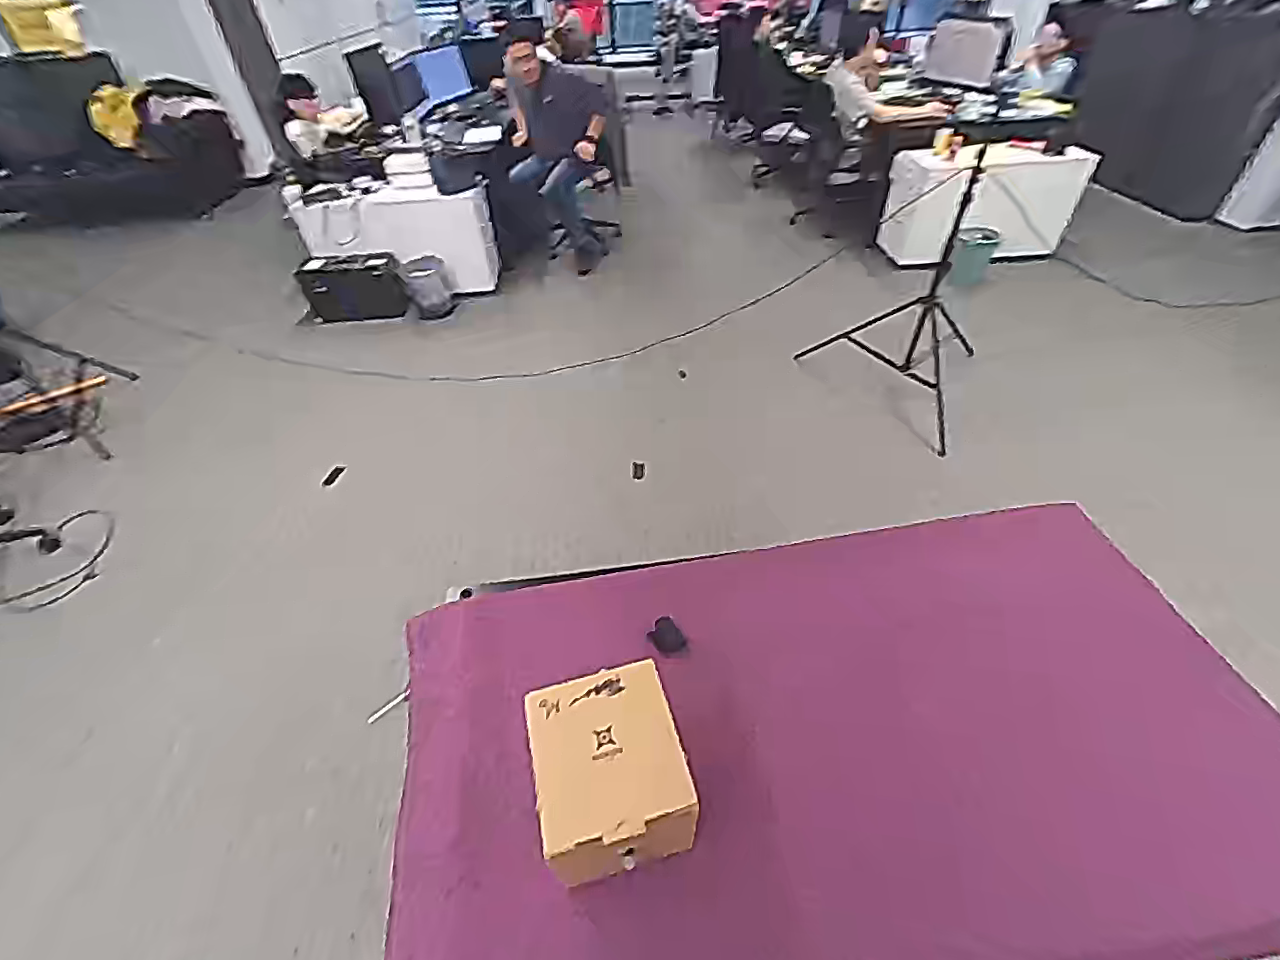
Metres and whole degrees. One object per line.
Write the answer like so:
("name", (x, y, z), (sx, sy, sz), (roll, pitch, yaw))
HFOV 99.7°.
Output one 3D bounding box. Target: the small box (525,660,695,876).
("small box", (-0.037, 0.357, 0.666), (0.168, 0.176, 0.179), (-12, 45, -10))
